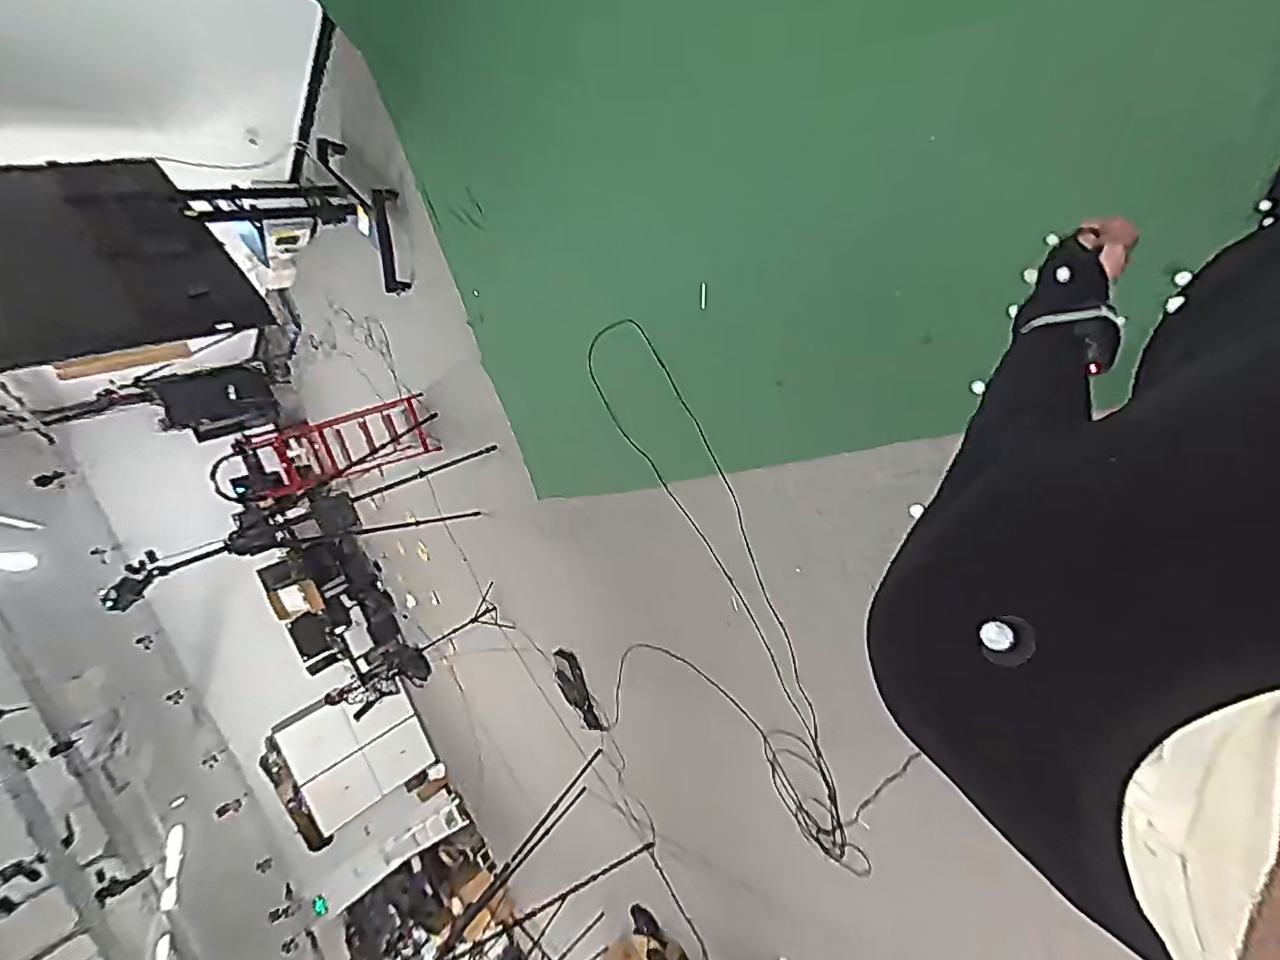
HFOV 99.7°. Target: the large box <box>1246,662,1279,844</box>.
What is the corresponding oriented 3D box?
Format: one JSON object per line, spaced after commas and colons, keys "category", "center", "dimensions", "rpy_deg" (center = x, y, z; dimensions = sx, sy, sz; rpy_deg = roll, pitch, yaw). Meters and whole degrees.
{"category": "large box", "center": [1.494, 0.577, 1.033], "dimensions": [0.408, 0.320, 0.320], "rpy_deg": [-14, 99, 50]}
